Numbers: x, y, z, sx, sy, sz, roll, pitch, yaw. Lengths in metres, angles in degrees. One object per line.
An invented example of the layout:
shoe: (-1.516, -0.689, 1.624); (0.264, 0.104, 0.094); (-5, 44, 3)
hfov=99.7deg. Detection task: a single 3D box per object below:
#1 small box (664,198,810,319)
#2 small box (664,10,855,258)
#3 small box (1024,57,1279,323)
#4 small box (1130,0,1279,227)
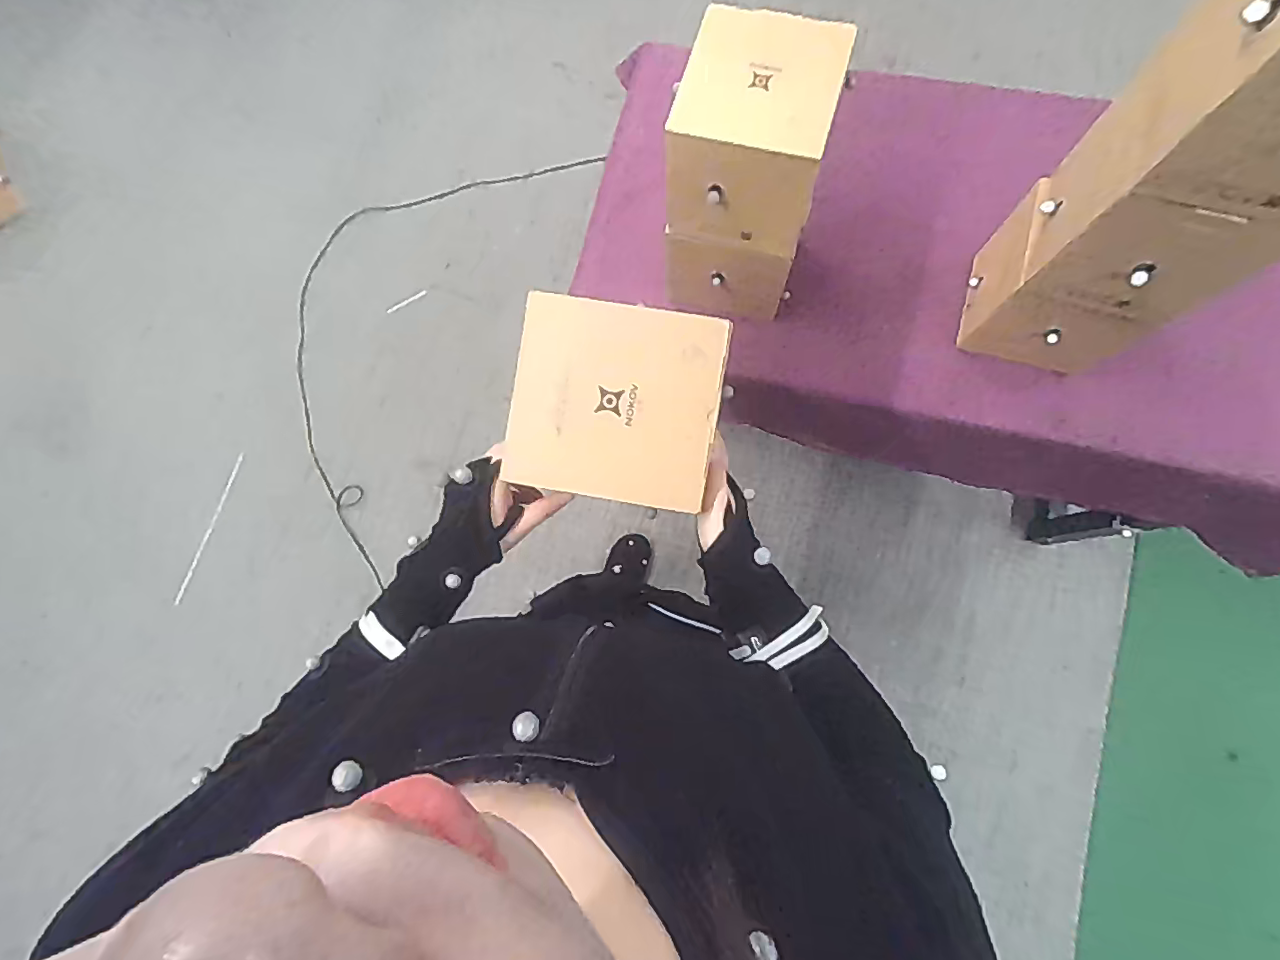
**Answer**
small box: (0.143, -0.363, 0.806); (0.179, 0.176, 0.168); (15, 79, 8)
small box: (0.134, -0.399, 0.647); (0.168, 0.176, 0.179); (16, 78, 8)
small box: (0.564, -0.300, 0.591); (0.168, 0.176, 0.179); (19, 81, 8)
small box: (0.548, -0.335, 0.430); (0.168, 0.176, 0.179); (18, 79, 8)
